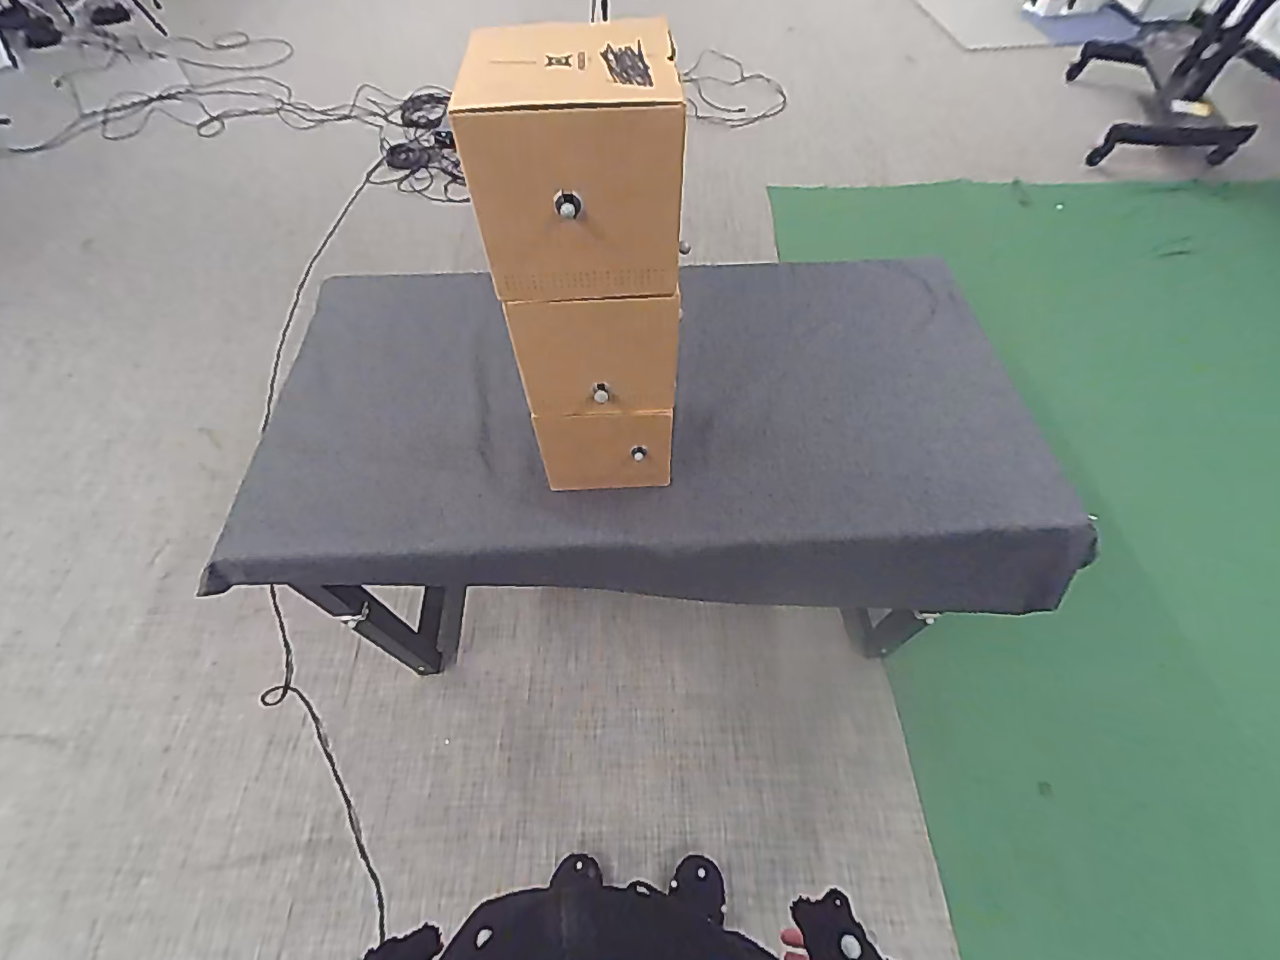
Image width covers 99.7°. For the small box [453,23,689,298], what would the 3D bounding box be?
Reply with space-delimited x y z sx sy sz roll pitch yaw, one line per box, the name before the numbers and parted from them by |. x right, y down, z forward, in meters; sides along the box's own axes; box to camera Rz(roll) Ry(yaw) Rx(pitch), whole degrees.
small box | -0.053 -0.290 0.505 0.179 0.176 0.168 -3 56 0

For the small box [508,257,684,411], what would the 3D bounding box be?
small box | -0.048 -0.197 0.641 0.179 0.176 0.168 -3 56 -2

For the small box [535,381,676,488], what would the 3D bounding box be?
small box | -0.044 -0.102 0.775 0.179 0.176 0.168 -4 56 0
